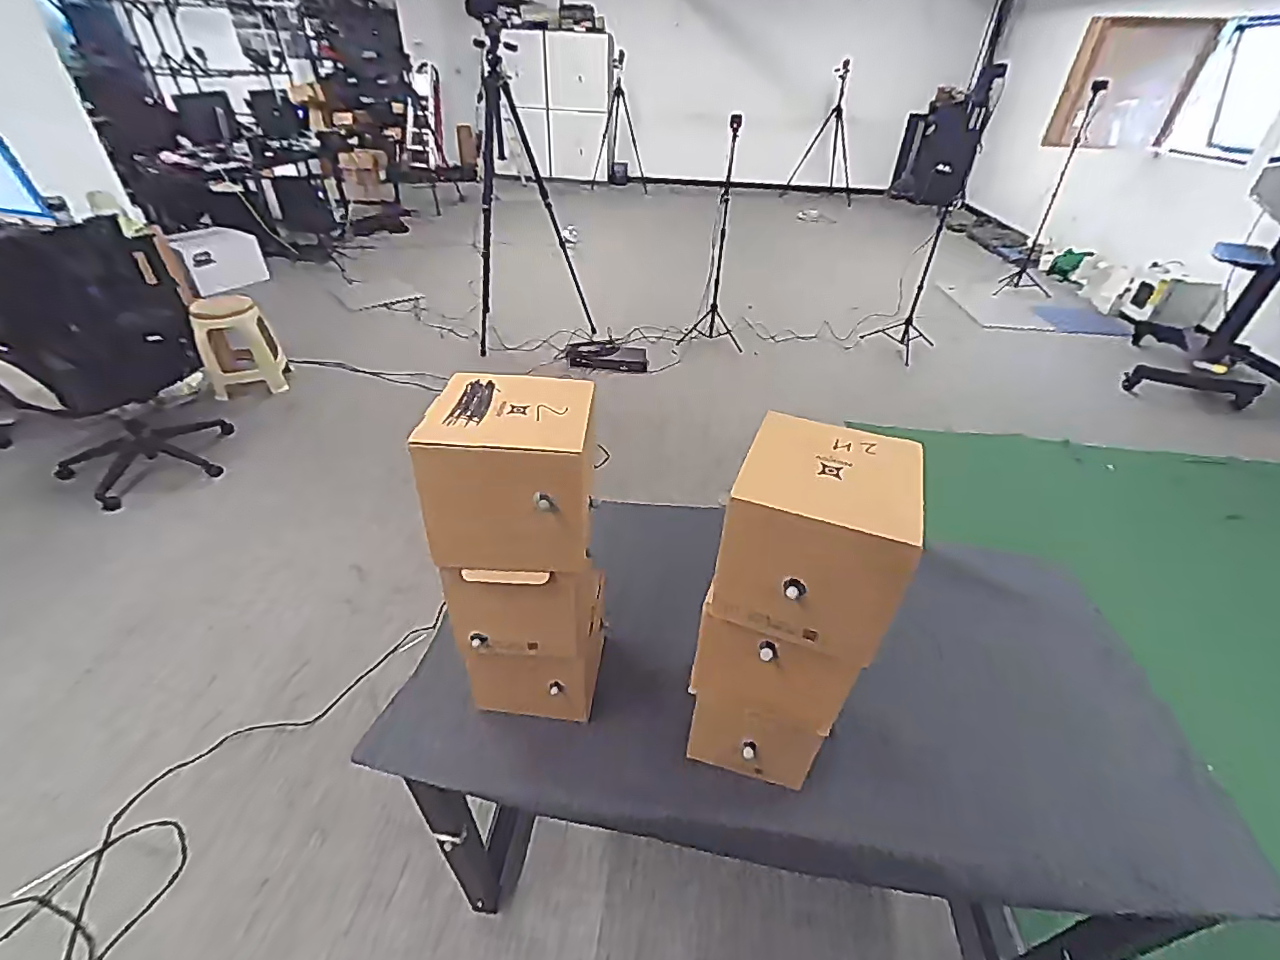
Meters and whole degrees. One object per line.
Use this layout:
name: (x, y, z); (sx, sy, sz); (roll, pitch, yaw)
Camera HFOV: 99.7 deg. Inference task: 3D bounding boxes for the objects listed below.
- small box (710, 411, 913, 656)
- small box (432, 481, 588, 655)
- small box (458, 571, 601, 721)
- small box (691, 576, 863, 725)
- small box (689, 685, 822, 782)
small box: (0.176, 0.052, 0.572); (0.168, 0.176, 0.179); (15, 38, 17)
small box: (-0.163, 0.120, 0.744); (0.168, 0.176, 0.179); (2, 35, 0)
small box: (-0.157, 0.252, 0.843); (0.179, 0.176, 0.168); (4, 35, 4)
small box: (0.173, 0.177, 0.681); (0.179, 0.176, 0.168); (13, 38, 16)
small box: (0.167, 0.302, 0.786); (0.168, 0.176, 0.179); (10, 38, 12)
